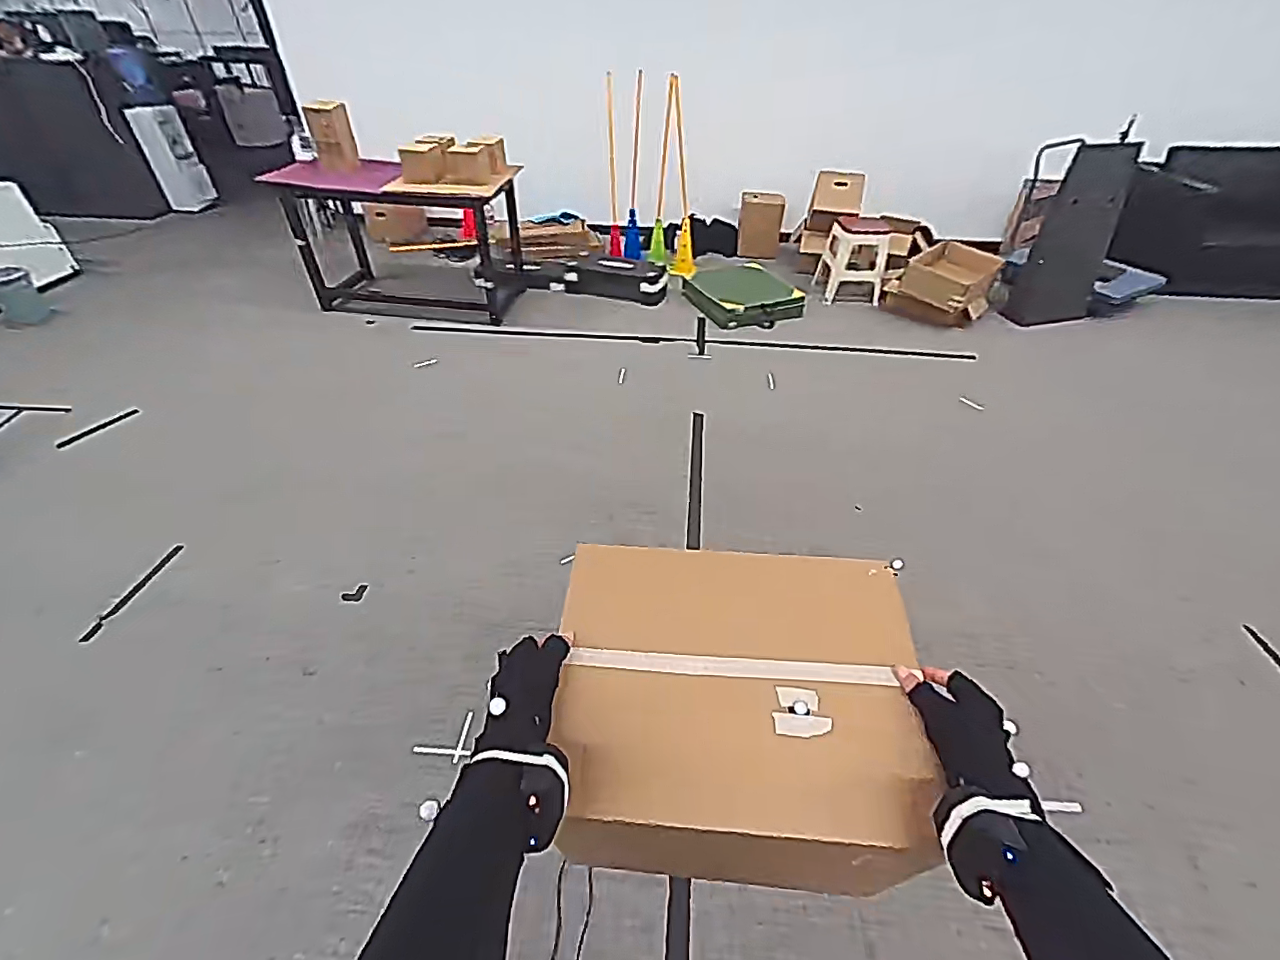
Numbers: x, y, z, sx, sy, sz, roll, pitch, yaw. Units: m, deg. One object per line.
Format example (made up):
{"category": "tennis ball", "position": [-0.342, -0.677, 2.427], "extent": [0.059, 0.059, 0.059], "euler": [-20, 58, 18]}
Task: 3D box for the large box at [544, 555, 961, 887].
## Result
{"category": "large box", "position": [0.114, 0.319, 0.720], "extent": [0.408, 0.320, 0.320], "euler": [2, 47, 4]}
